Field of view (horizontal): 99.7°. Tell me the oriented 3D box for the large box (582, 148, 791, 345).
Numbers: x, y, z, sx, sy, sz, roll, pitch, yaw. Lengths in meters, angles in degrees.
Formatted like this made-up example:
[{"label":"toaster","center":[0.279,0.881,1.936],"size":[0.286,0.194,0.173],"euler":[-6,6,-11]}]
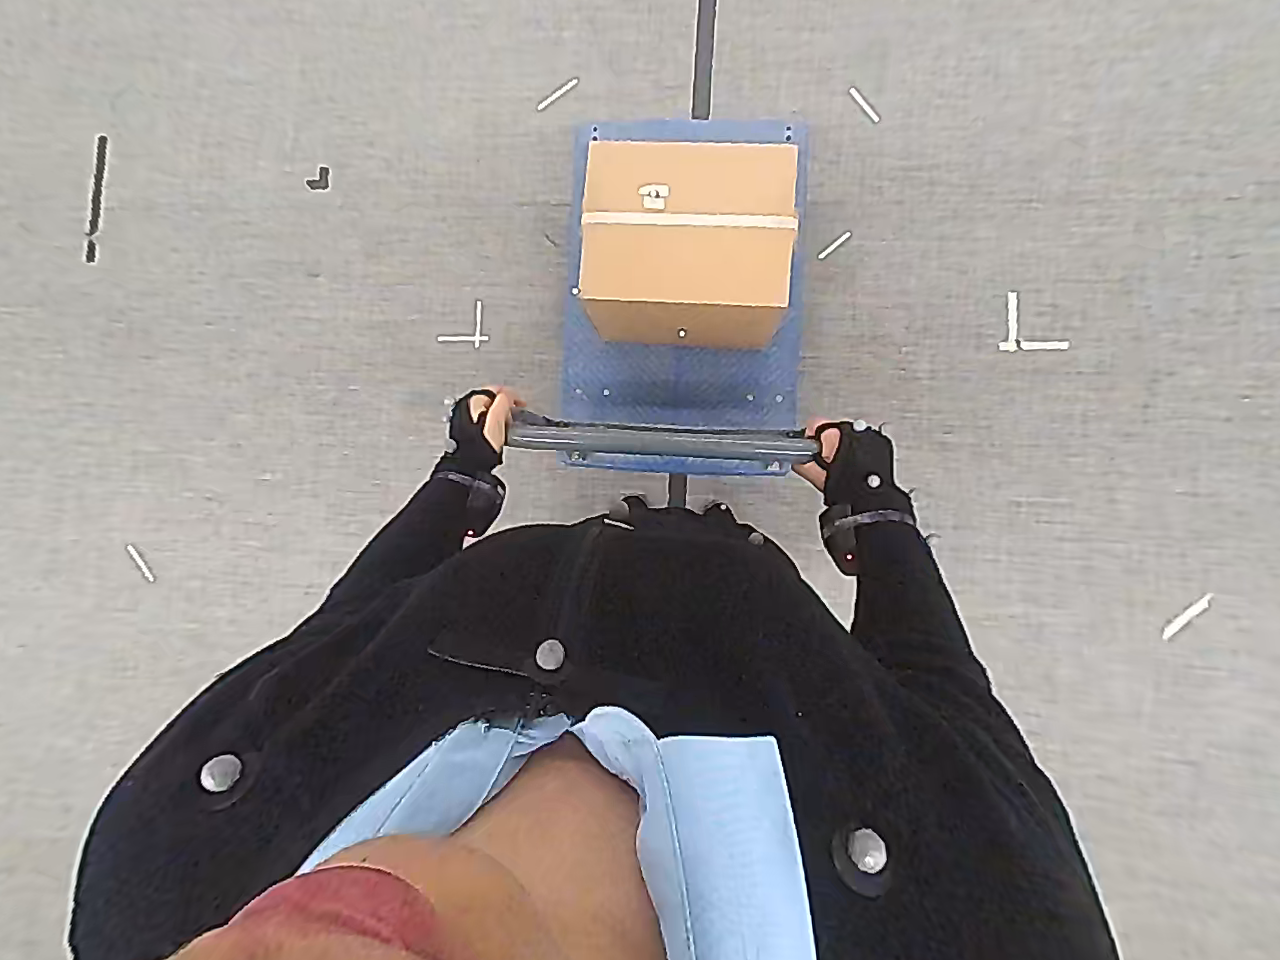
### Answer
[{"label":"large box","center":[0.105,-0.493,1.205],"size":[0.408,0.320,0.320],"euler":[4,88,6]}]
